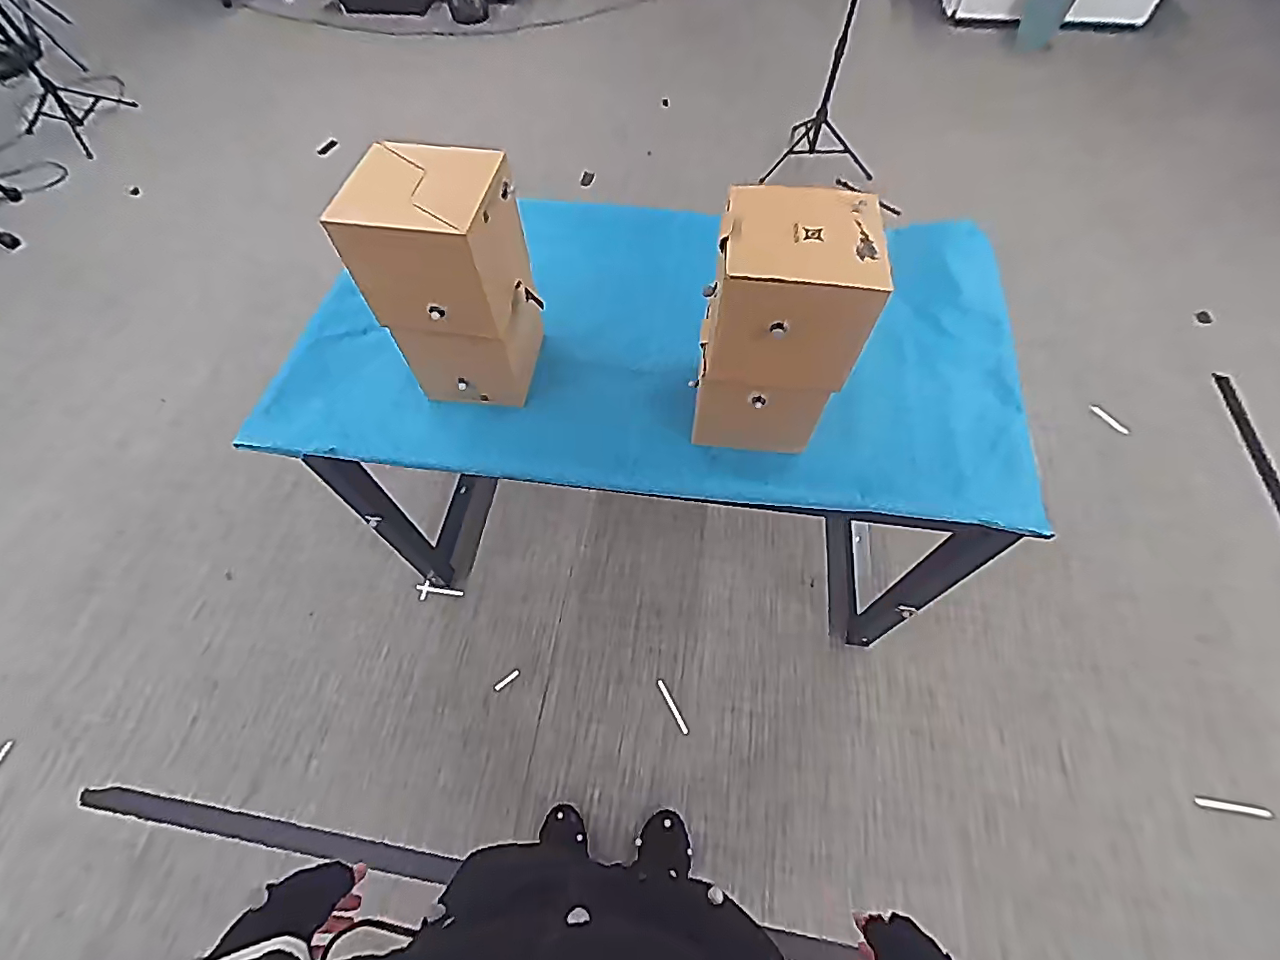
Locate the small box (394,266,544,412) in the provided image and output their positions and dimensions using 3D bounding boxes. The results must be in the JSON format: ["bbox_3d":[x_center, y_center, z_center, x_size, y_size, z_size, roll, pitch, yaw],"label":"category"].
[{"bbox_3d":[-0.262,-0.235,0.868,0.168,0.176,0.179,8,63,7],"label":"small box"}]

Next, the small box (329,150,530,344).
[{"bbox_3d":[-0.264,-0.307,0.717,0.179,0.176,0.168,8,61,5],"label":"small box"}]

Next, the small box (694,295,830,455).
[{"bbox_3d":[0.176,-0.152,0.810,0.179,0.176,0.168,7,61,5],"label":"small box"}]

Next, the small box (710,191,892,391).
[{"bbox_3d":[0.180,-0.226,0.666,0.179,0.176,0.168,4,60,2],"label":"small box"}]
